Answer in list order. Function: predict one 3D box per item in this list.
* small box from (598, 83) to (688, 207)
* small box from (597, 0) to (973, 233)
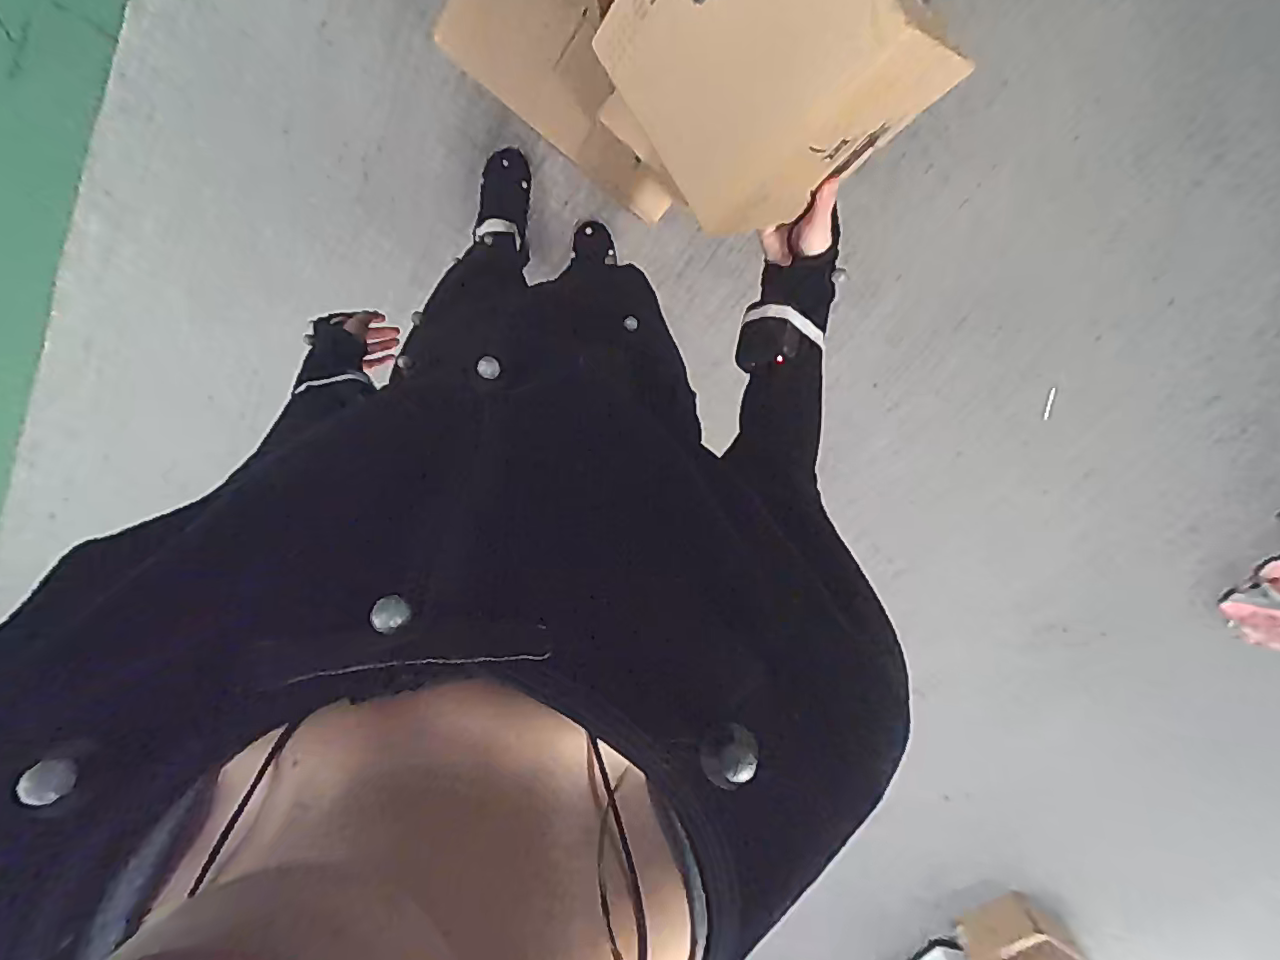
[{"bbox_3d":[0.061,-0.501,0.748,0.179,0.176,0.168,36,112,-18],"label":"small box"},{"bbox_3d":[0.105,-0.314,0.396,0.168,0.179,0.176,-30,93,48],"label":"small box"}]
